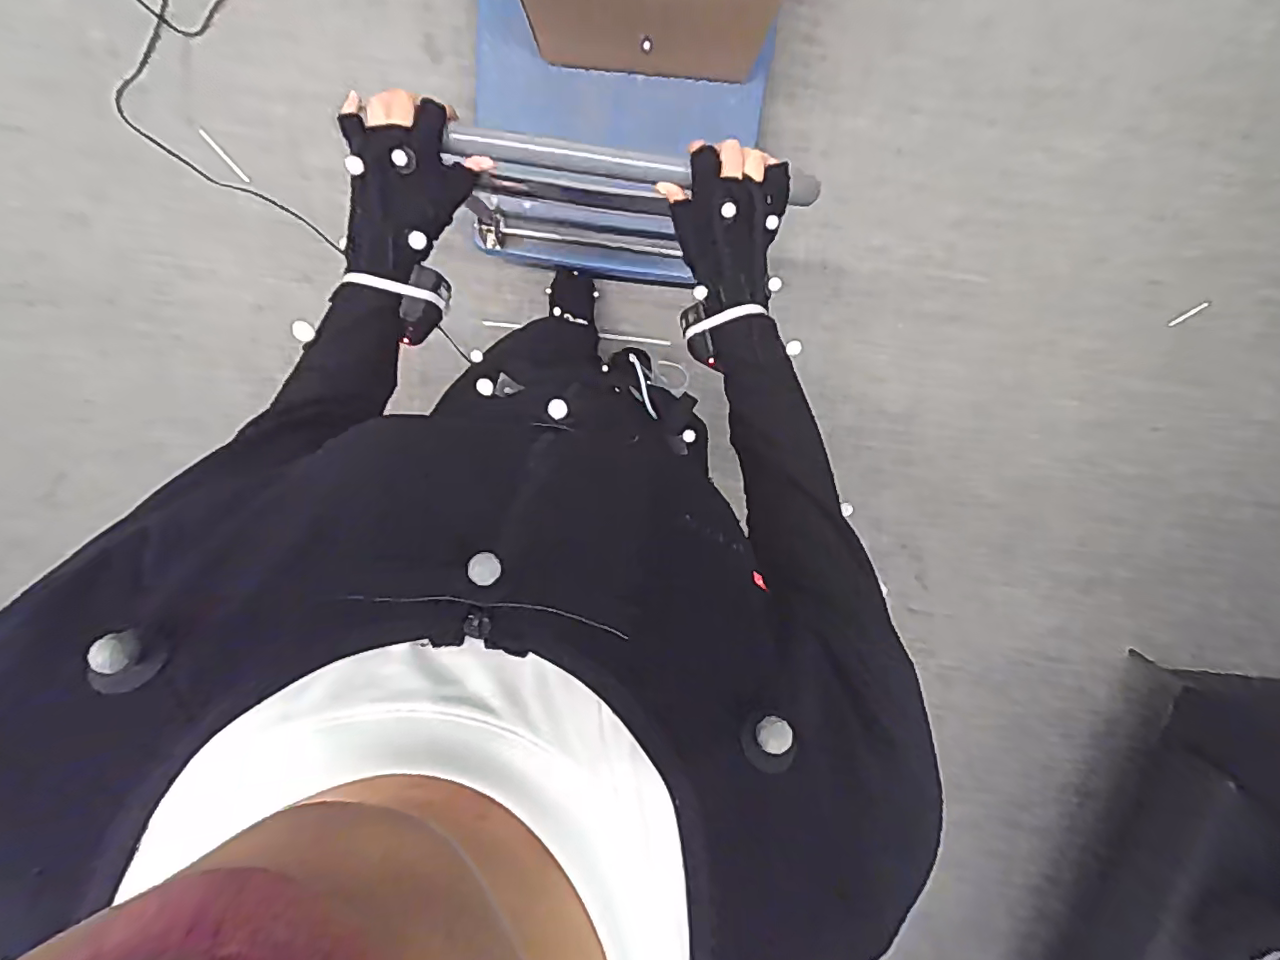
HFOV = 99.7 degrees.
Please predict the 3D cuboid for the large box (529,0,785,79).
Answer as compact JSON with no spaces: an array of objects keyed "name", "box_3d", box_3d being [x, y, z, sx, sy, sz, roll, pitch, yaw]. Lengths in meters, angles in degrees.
[{"name":"large box","box_3d":[0.032,-0.915,0.897,0.408,0.320,0.320,4,105,-1]}]
